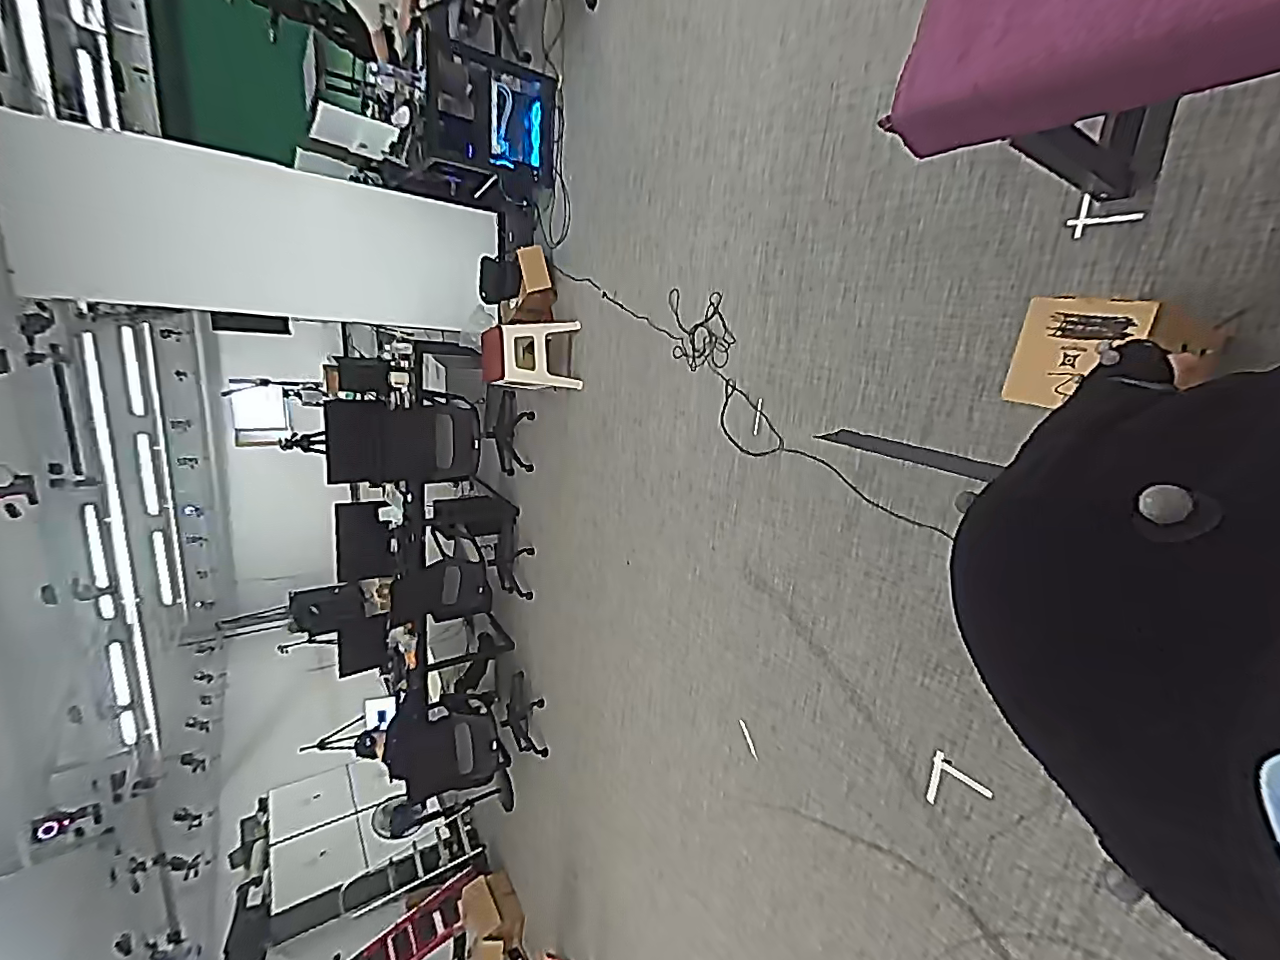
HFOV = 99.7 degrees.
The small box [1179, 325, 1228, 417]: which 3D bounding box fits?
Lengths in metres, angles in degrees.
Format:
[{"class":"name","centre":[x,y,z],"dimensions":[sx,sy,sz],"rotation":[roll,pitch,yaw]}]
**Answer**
[{"class":"small box","centre":[1.017,-0.227,1.081],"dimensions":[0.168,0.176,0.179],"rotation":[33,121,49]}]

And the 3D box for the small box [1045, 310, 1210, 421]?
[{"class":"small box","centre":[0.886,-0.209,0.983],"dimensions":[0.168,0.176,0.179],"rotation":[26,116,51]}]
